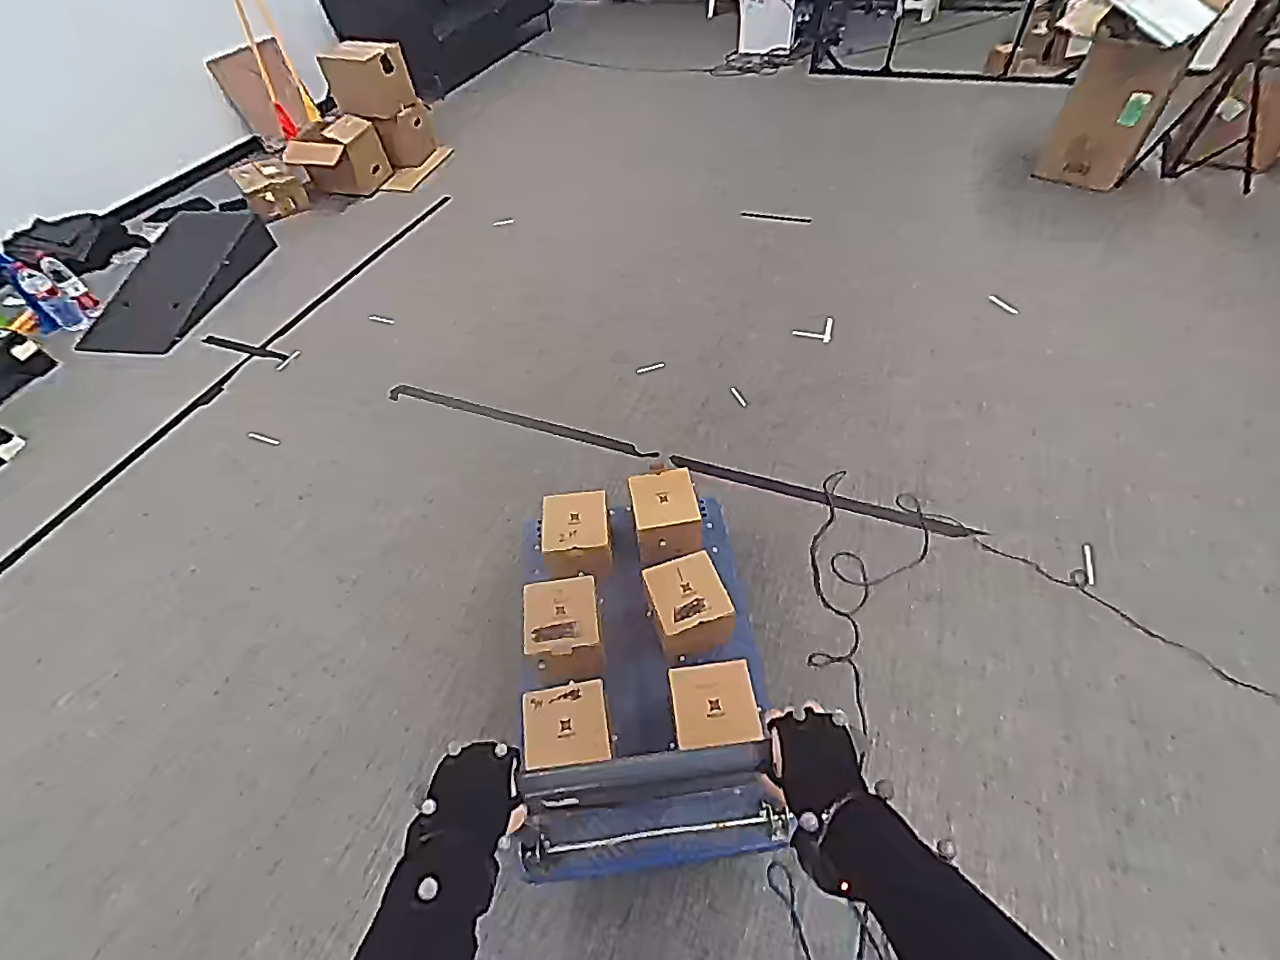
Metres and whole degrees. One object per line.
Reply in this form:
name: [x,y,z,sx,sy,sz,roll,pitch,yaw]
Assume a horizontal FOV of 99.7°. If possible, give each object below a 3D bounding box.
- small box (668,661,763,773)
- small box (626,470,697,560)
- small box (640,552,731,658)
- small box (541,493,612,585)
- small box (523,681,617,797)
small box: [0.152,0.505,1.141,0.168,0.176,0.179,-6,50,-2]
small box: [0.060,0.102,1.473,0.168,0.176,0.179,-10,51,-4]
small box: [0.108,0.309,1.302,0.168,0.176,0.179,-17,51,-10]
small box: [-0.166,0.158,1.440,0.168,0.176,0.179,-6,52,-1]
small box: [-0.143,0.545,1.126,0.168,0.176,0.179,-9,51,-5]
